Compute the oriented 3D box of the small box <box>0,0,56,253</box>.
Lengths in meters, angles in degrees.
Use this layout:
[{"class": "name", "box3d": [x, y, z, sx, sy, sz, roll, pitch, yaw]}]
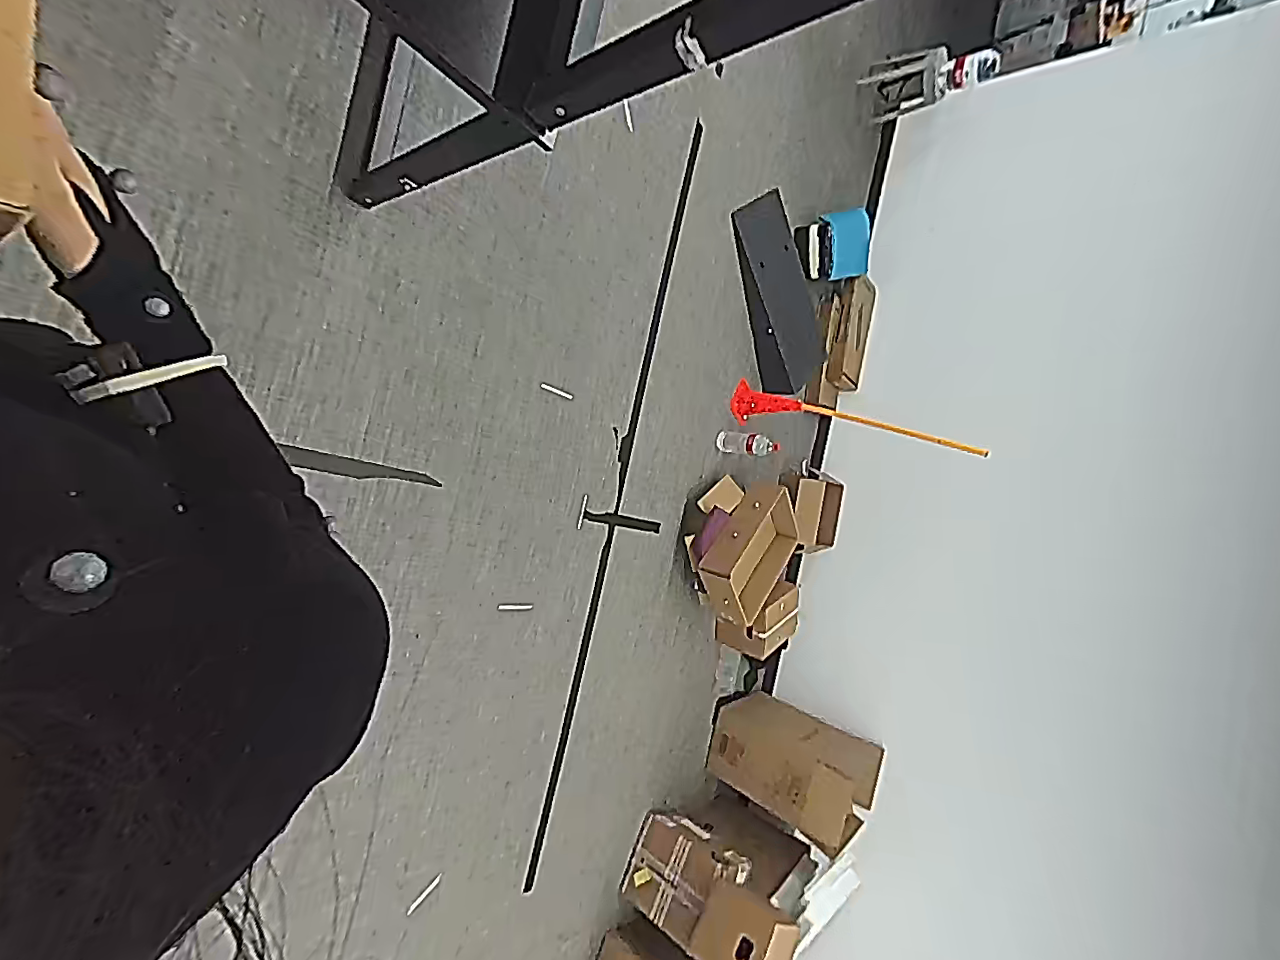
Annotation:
[{"class": "small box", "box3d": [-0.386, -0.211, 0.226, 0.168, 0.176, 0.179, -1, 94, -58]}]
